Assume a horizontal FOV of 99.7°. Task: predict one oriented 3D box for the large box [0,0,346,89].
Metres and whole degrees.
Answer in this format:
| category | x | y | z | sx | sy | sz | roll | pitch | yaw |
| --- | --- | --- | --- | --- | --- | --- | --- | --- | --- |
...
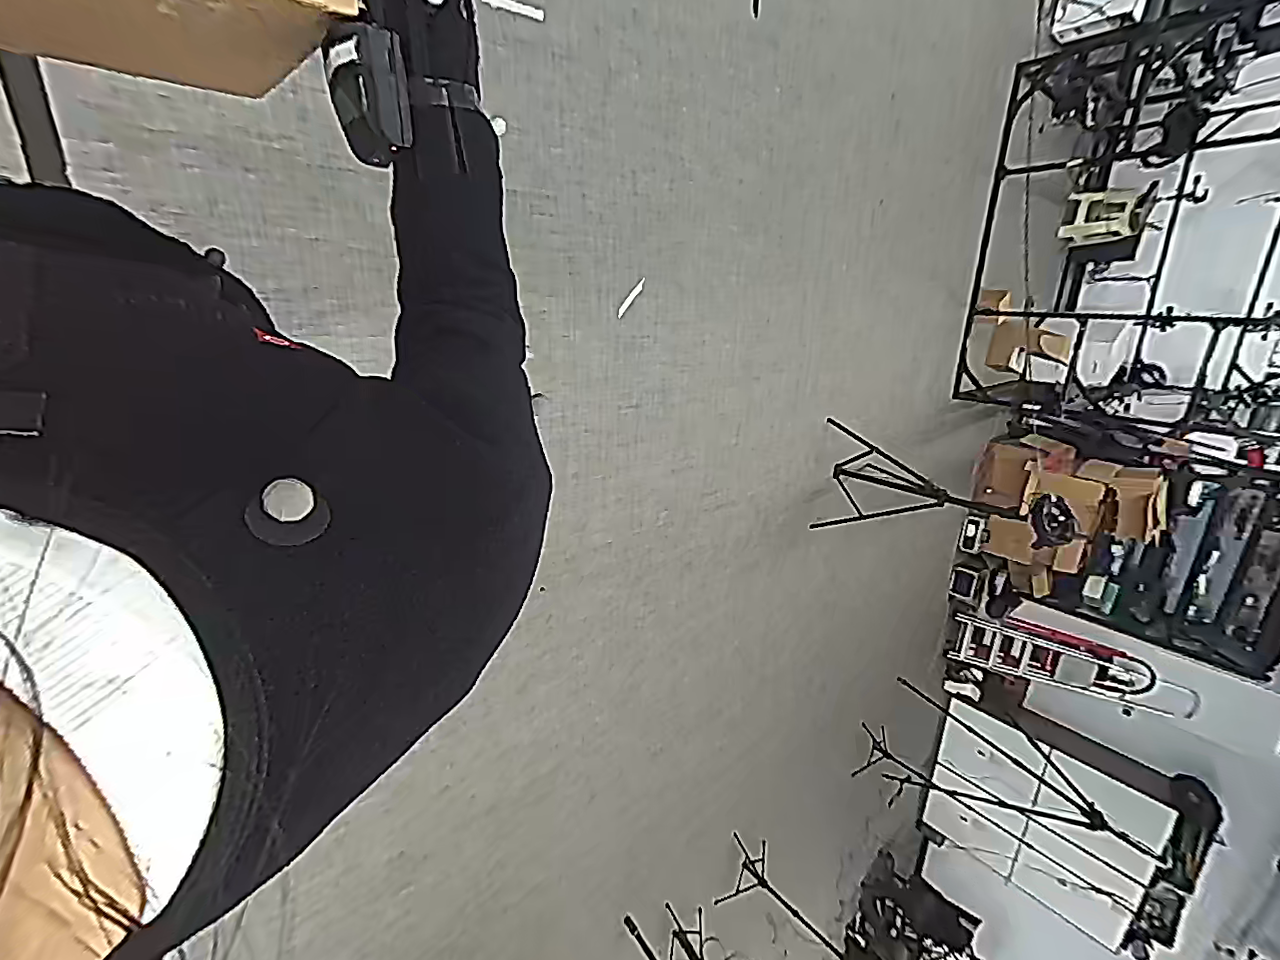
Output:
| category | x | y | z | sx | sy | sz | roll | pitch | yaw |
| --- | --- | --- | --- | --- | --- | --- | --- | --- | --- |
| large box | -0.409 | -0.416 | 0.233 | 0.408 | 0.320 | 0.320 | -16 | 121 | -39 |
